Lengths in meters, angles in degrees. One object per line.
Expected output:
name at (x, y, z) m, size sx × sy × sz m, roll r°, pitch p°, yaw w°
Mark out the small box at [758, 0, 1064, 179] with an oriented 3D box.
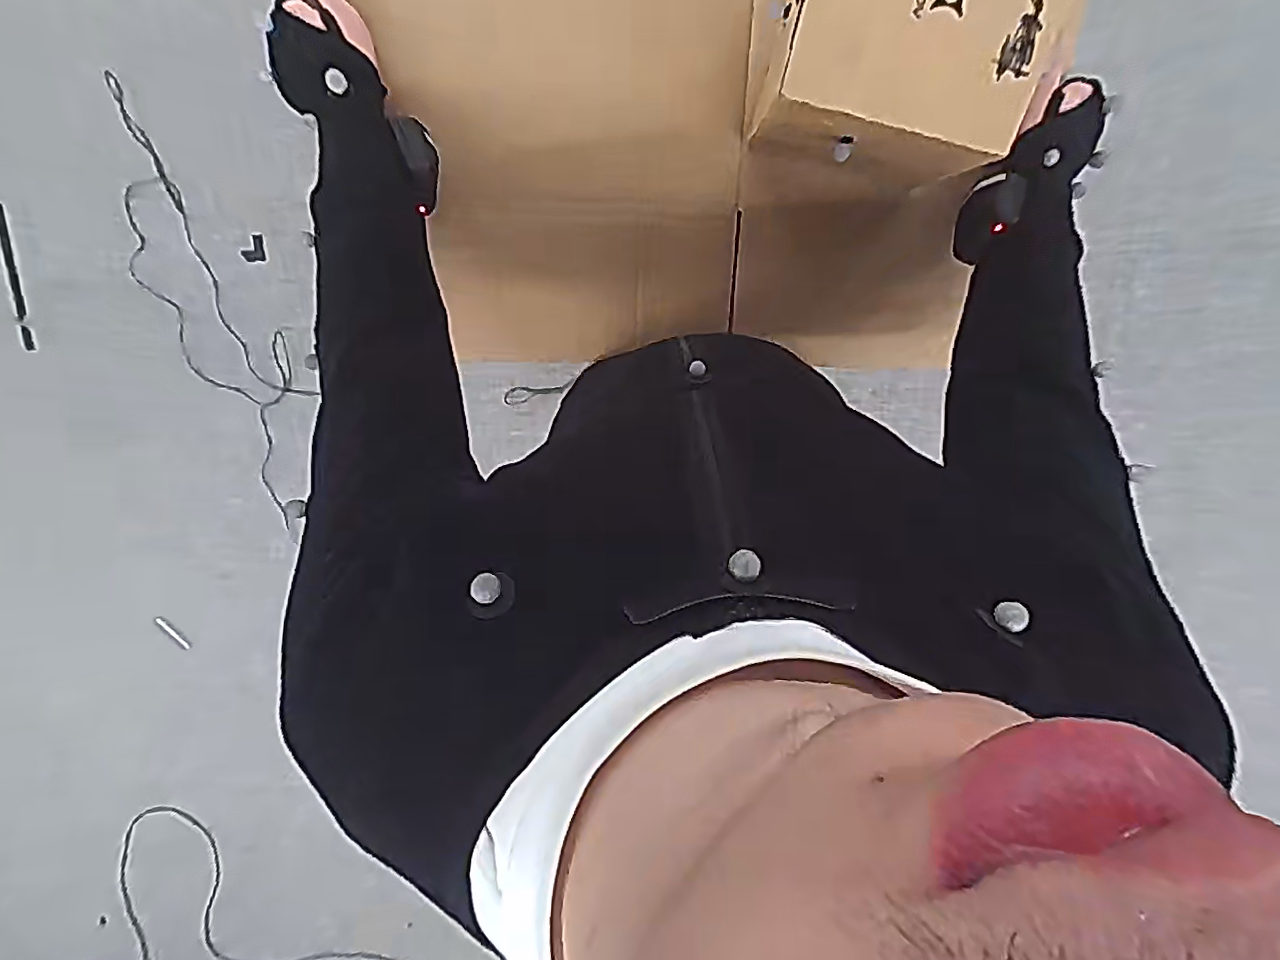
small box at (0.207, -0.365, 0.442) m, size 0.179 × 0.176 × 0.168 m, roll 14°, pitch 111°, yaw -1°
